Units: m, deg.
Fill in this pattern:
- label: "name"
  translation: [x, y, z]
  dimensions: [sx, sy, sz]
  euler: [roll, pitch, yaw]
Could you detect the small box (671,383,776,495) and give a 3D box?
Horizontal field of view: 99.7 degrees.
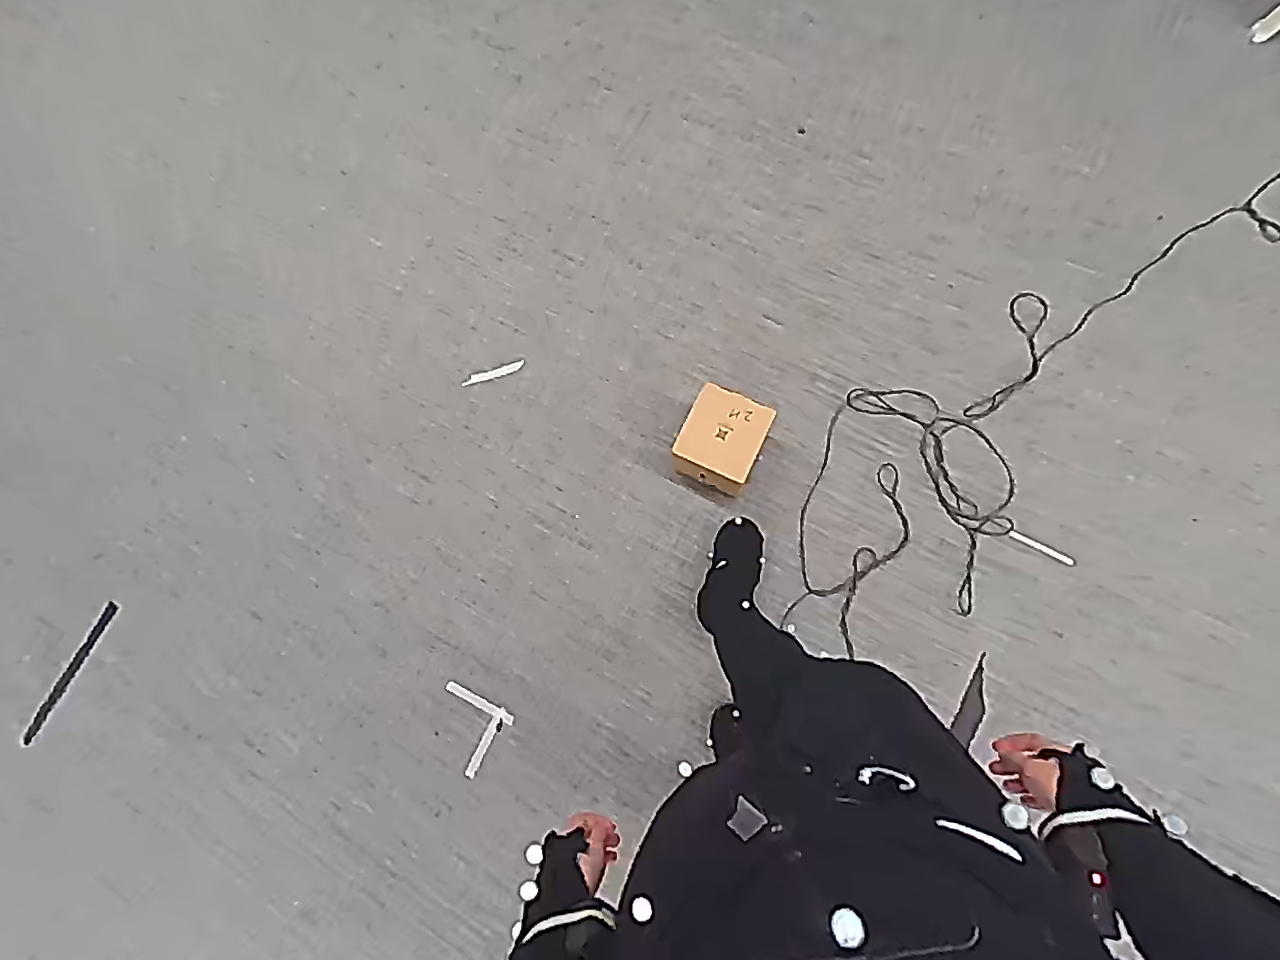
- label: "small box"
  translation: [0.183, -0.082, 1.202]
  dimensions: [0.168, 0.176, 0.179]
  euler: [26, 82, 10]
